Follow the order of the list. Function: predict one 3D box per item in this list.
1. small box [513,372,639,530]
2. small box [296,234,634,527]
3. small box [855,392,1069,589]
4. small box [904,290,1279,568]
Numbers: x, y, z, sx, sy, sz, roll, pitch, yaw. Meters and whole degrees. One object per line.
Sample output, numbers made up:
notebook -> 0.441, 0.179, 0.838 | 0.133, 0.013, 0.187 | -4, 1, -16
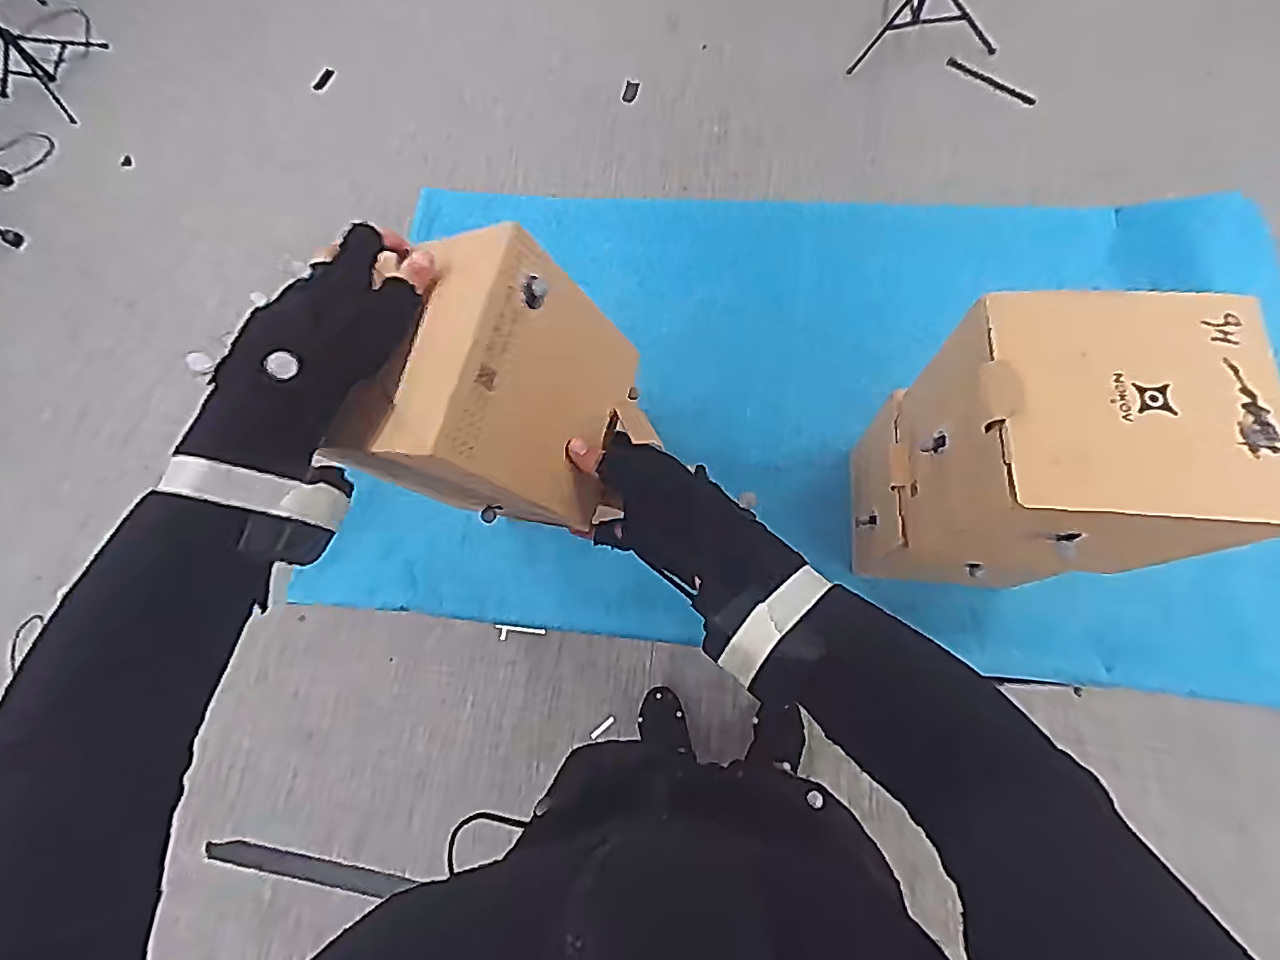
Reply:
small box -> -0.100, -0.050, 0.659 | 0.168, 0.176, 0.179 | 6, 74, 10
small box -> -0.135, -0.068, 0.435 | 0.179, 0.176, 0.168 | 7, 76, 35
small box -> 0.338, 0.020, 0.583 | 0.179, 0.176, 0.168 | 4, 72, 8
small box -> 0.327, -0.027, 0.427 | 0.179, 0.176, 0.168 | 1, 71, 6
